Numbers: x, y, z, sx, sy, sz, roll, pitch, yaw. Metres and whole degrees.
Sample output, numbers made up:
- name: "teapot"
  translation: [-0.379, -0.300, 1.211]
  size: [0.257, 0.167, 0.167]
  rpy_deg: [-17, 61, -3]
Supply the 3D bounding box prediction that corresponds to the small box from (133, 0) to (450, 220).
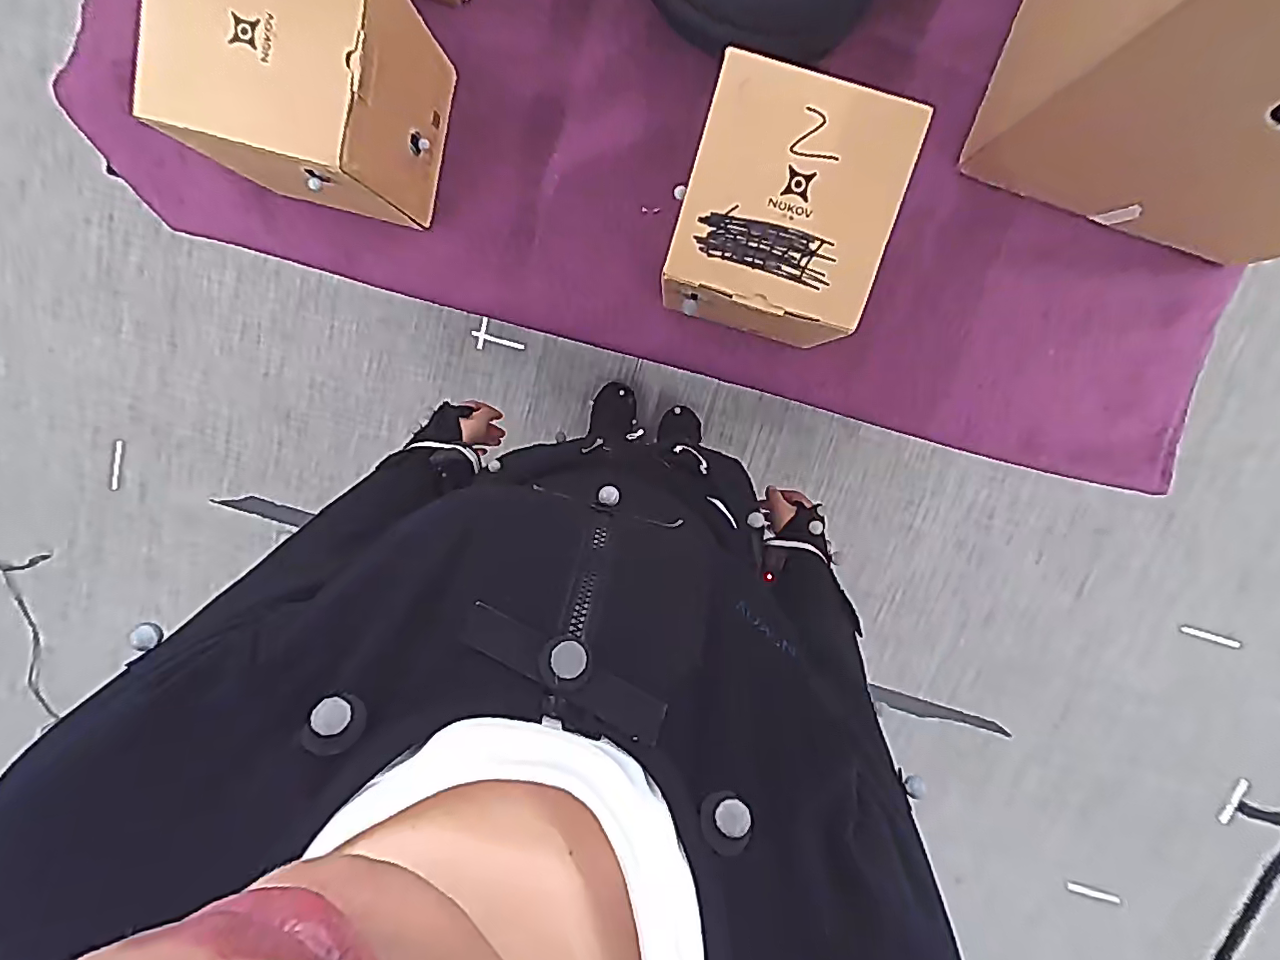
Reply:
- name: "small box"
  translation: [-0.303, -0.365, 0.503]
  size: [0.179, 0.176, 0.168]
  rpy_deg: [14, 99, -1]
